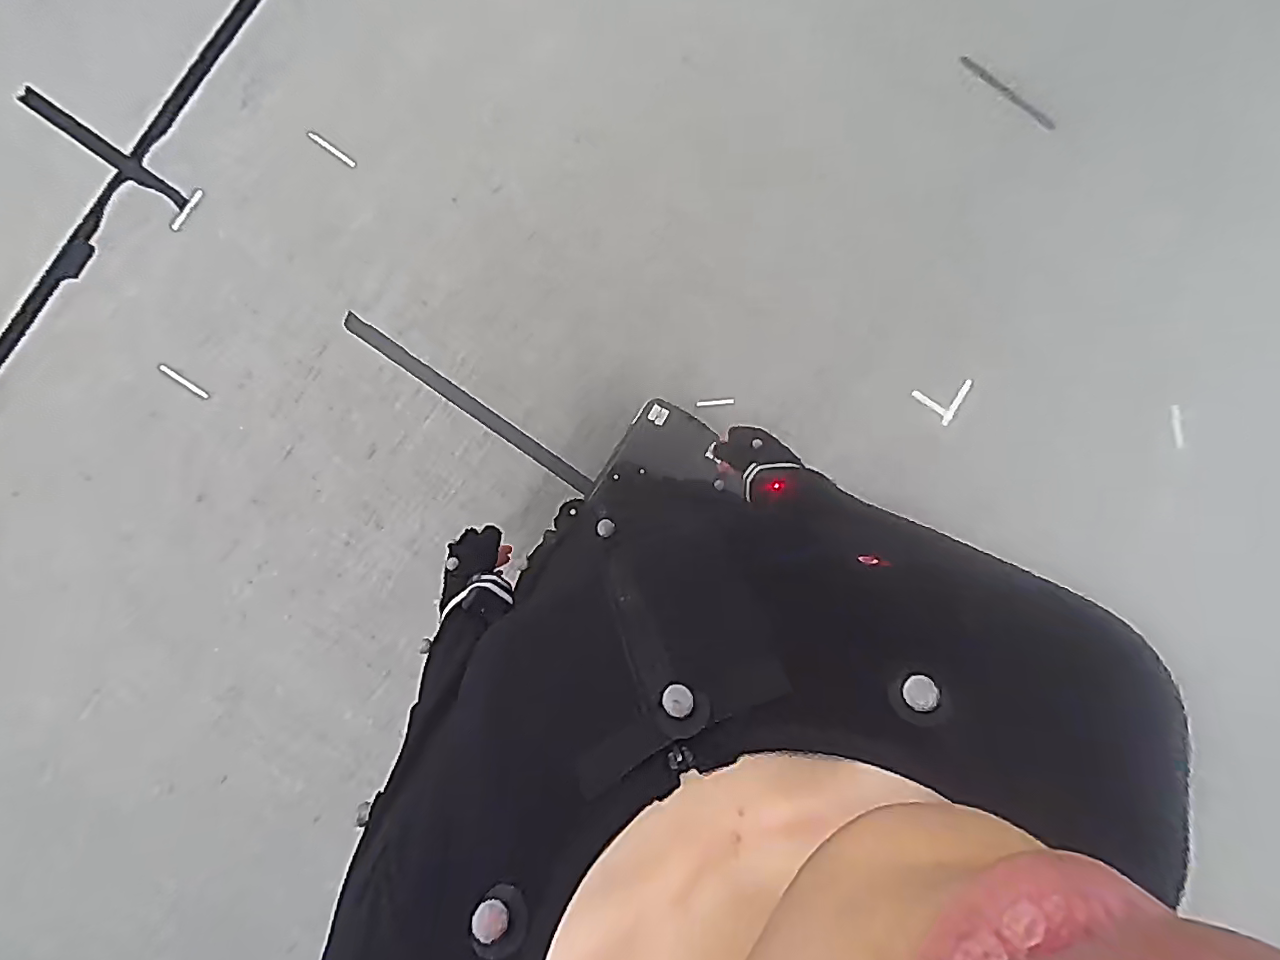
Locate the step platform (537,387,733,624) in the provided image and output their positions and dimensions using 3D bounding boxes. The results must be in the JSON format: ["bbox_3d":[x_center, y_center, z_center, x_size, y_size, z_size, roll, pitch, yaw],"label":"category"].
[{"bbox_3d":[-0.015,0.069,1.582,0.286,0.204,0.684,33,87,-4],"label":"step platform"}]
